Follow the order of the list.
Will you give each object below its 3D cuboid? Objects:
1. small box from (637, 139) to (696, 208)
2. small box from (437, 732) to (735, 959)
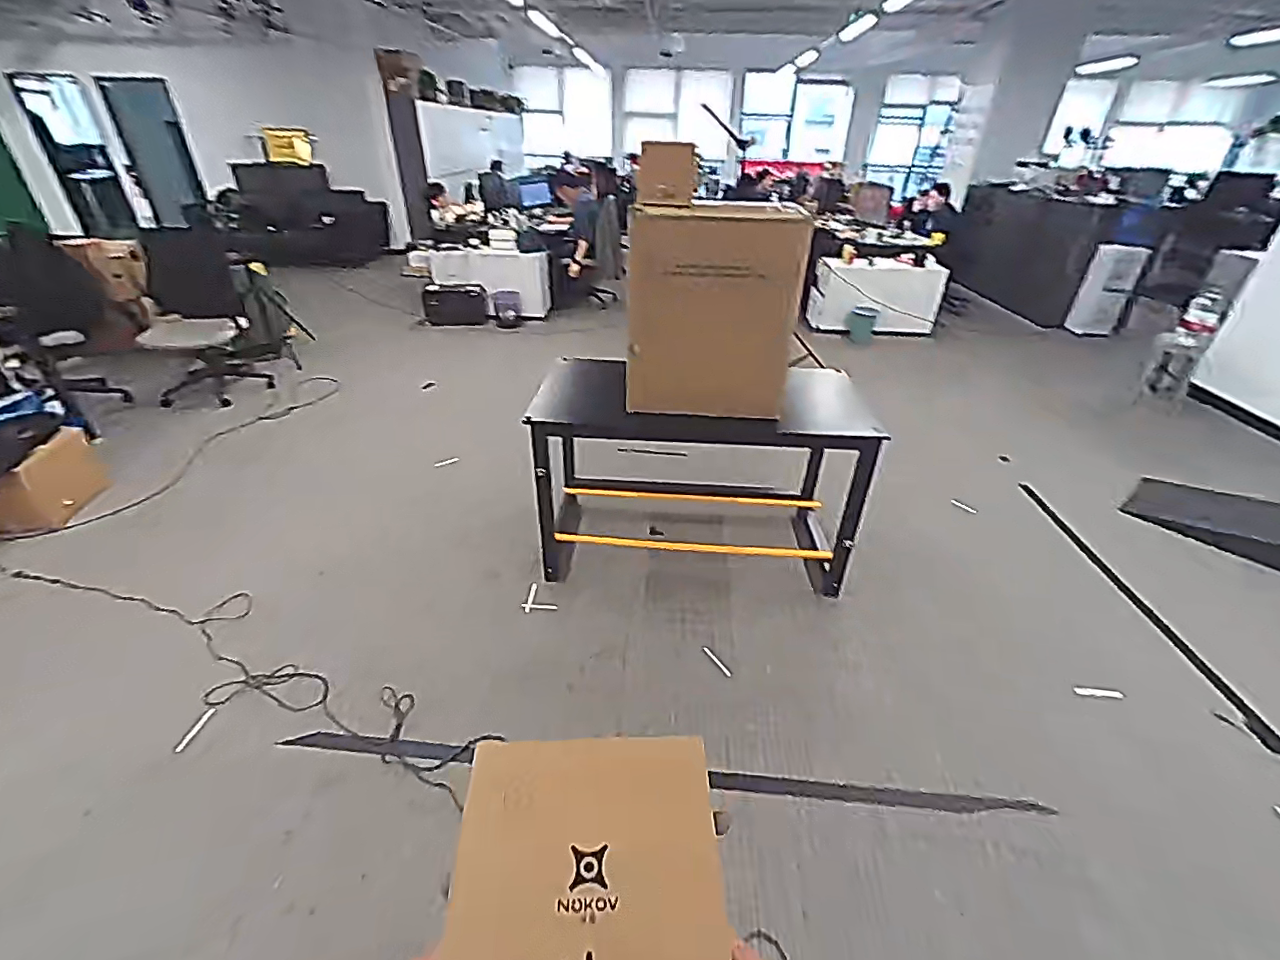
[{"bbox_3d":[0.080,-0.933,1.646,0.168,0.176,0.179,3,32,3],"label":"small box"},{"bbox_3d":[-0.032,0.300,0.376,0.168,0.176,0.179,0,40,-1],"label":"small box"}]
